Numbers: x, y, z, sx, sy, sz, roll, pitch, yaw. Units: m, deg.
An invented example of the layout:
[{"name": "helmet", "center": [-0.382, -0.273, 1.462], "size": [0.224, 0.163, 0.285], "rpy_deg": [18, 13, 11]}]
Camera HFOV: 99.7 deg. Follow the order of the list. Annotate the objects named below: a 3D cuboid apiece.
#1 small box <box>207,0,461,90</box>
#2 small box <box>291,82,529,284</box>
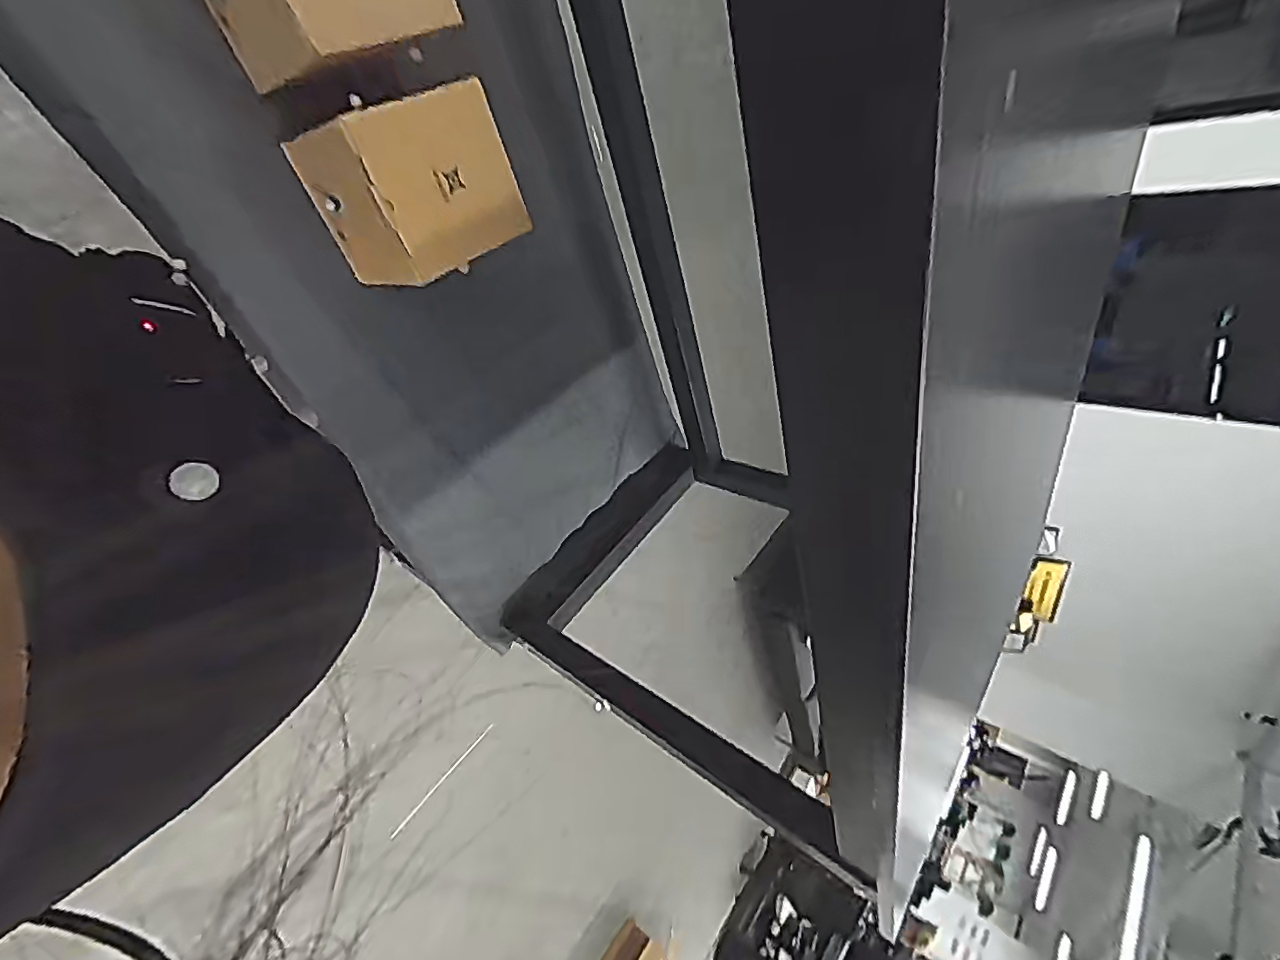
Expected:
[{"name": "small box", "center": [-0.322, -0.516, 0.536], "size": [0.179, 0.176, 0.168], "rpy_deg": [-45, 134, -30]}, {"name": "small box", "center": [-0.275, -0.356, 0.660], "size": [0.179, 0.176, 0.168], "rpy_deg": [-45, 134, -30]}]
